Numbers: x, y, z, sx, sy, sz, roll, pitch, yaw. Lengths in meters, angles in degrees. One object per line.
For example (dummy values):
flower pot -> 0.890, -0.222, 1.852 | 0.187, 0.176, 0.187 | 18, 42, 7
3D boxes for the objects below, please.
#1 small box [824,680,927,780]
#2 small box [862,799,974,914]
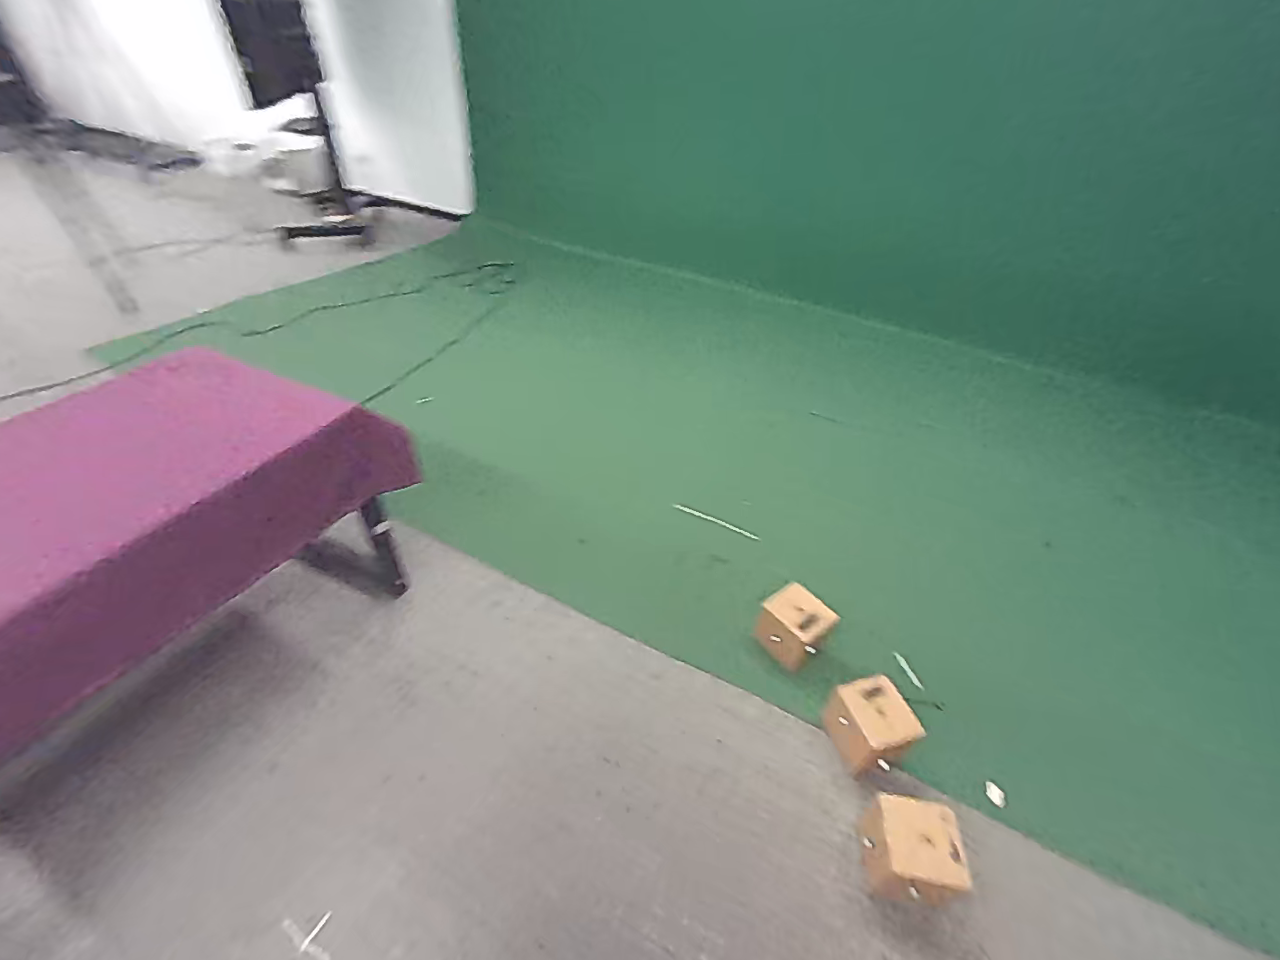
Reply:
small box -> 0.637, 0.689, 1.492 | 0.168, 0.176, 0.179 | -8, 42, -15
small box -> 0.633, 0.881, 1.262 | 0.179, 0.176, 0.168 | 9, 40, 5
